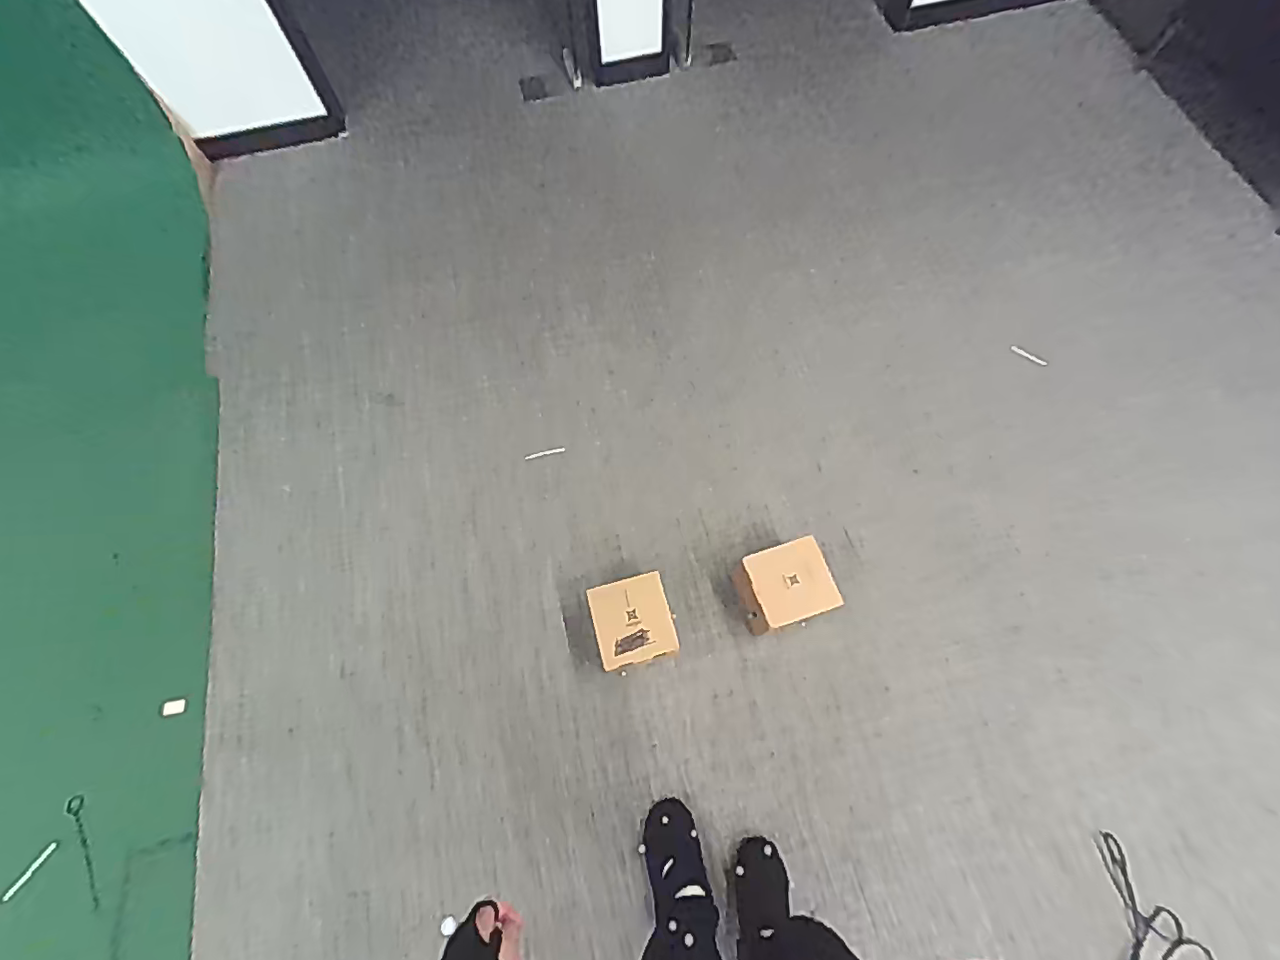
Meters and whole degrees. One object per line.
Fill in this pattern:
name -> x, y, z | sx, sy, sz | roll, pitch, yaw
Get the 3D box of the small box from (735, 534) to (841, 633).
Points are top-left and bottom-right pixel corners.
small box -> 0.331, 0.247, 1.256 | 0.179, 0.176, 0.168 | -17, 70, -6

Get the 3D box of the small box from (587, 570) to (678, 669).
small box -> -0.014, 0.323, 1.233 | 0.168, 0.176, 0.179 | -15, 68, -4
